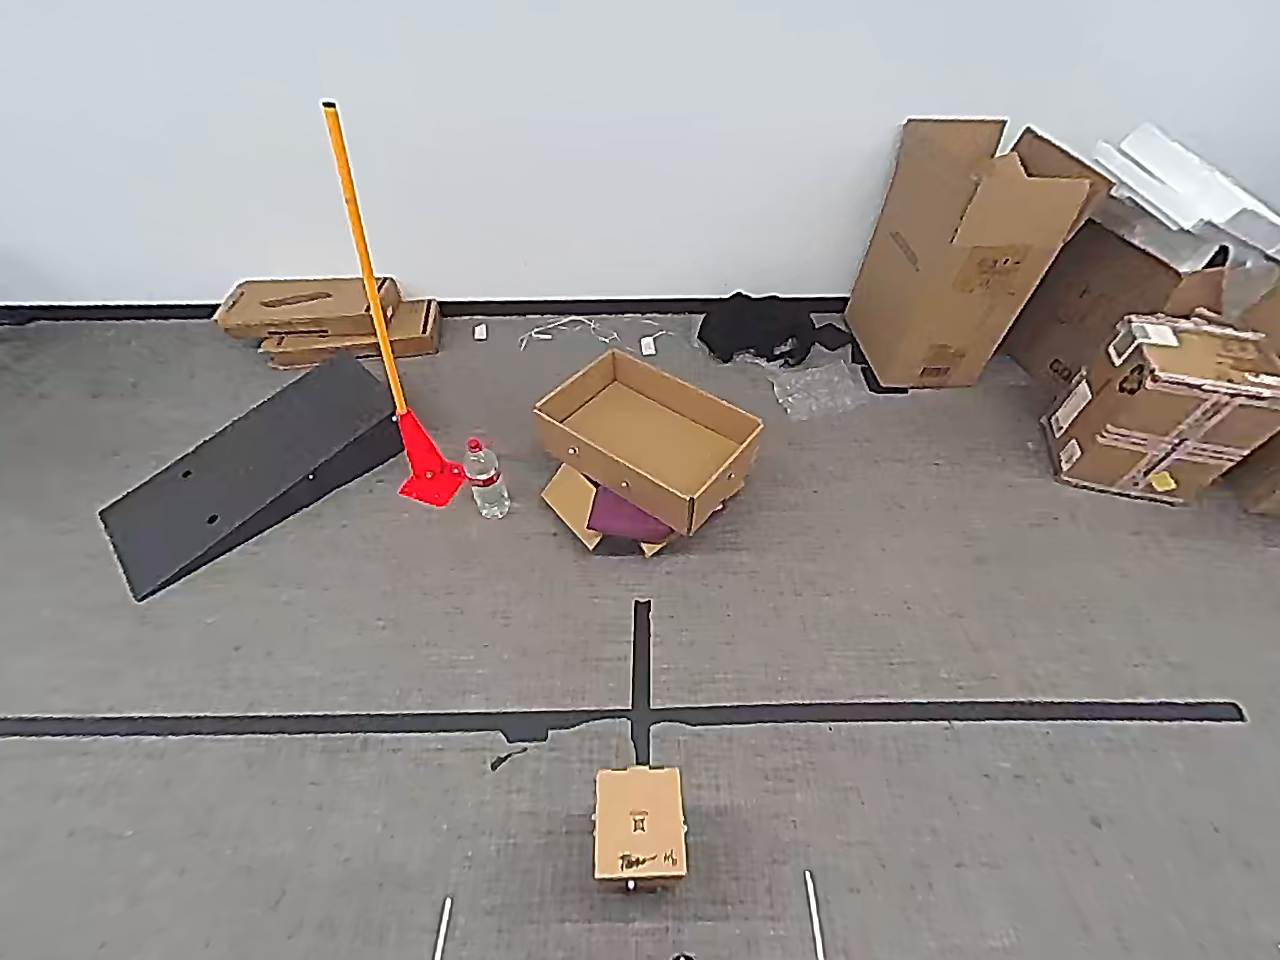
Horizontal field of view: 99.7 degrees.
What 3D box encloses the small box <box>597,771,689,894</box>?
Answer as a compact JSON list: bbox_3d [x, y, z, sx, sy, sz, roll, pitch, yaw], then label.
[{"bbox_3d":[0.004,0.693,1.063,0.168,0.176,0.179,-2,47,-1],"label":"small box"}]
